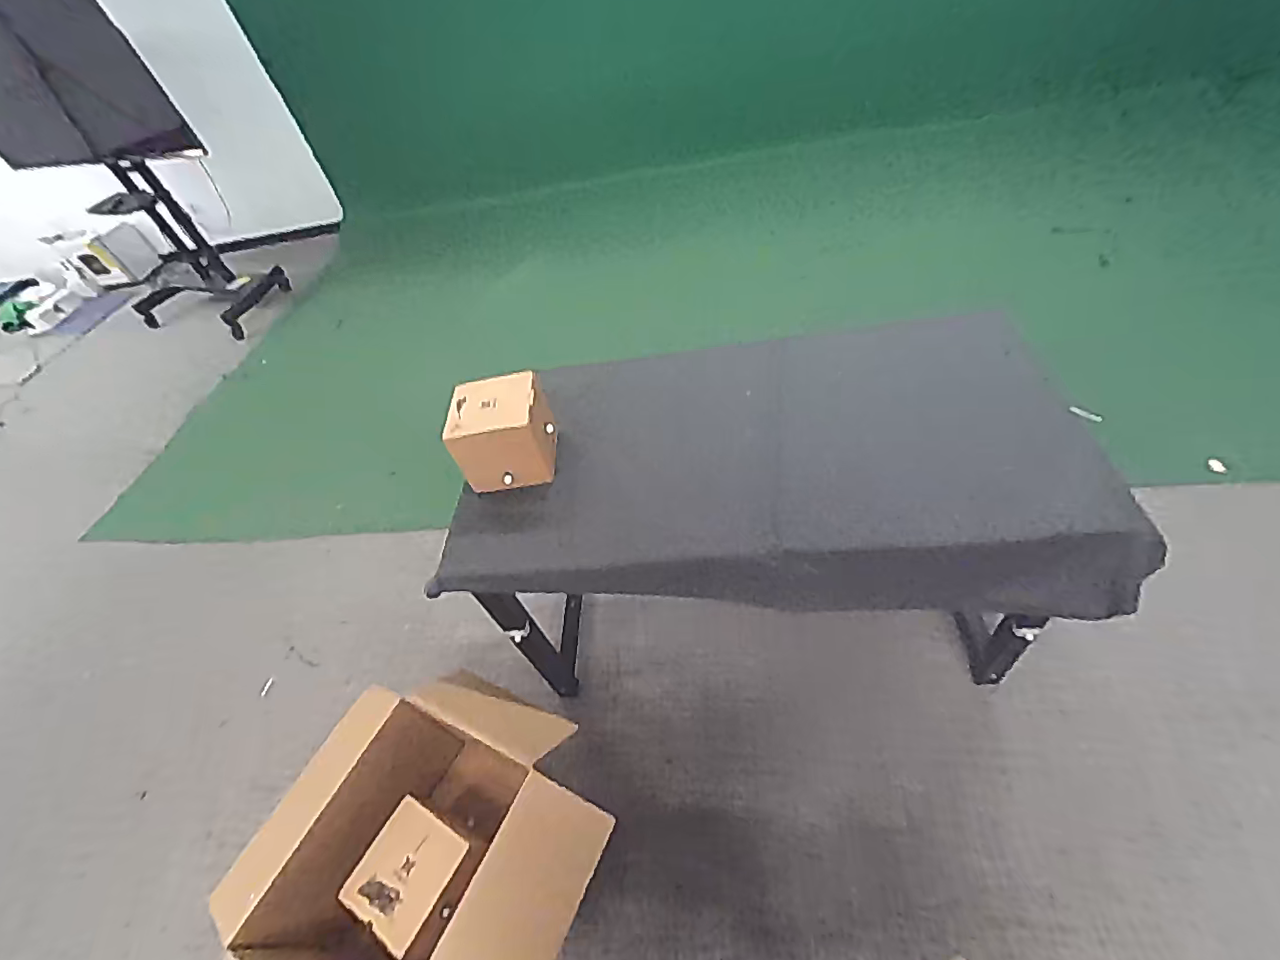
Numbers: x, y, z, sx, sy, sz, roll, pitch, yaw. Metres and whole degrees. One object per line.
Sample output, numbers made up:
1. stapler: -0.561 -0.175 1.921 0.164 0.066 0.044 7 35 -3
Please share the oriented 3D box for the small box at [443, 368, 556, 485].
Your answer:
1. small box: -0.283 -0.109 1.138 0.179 0.176 0.168 -8 48 5
